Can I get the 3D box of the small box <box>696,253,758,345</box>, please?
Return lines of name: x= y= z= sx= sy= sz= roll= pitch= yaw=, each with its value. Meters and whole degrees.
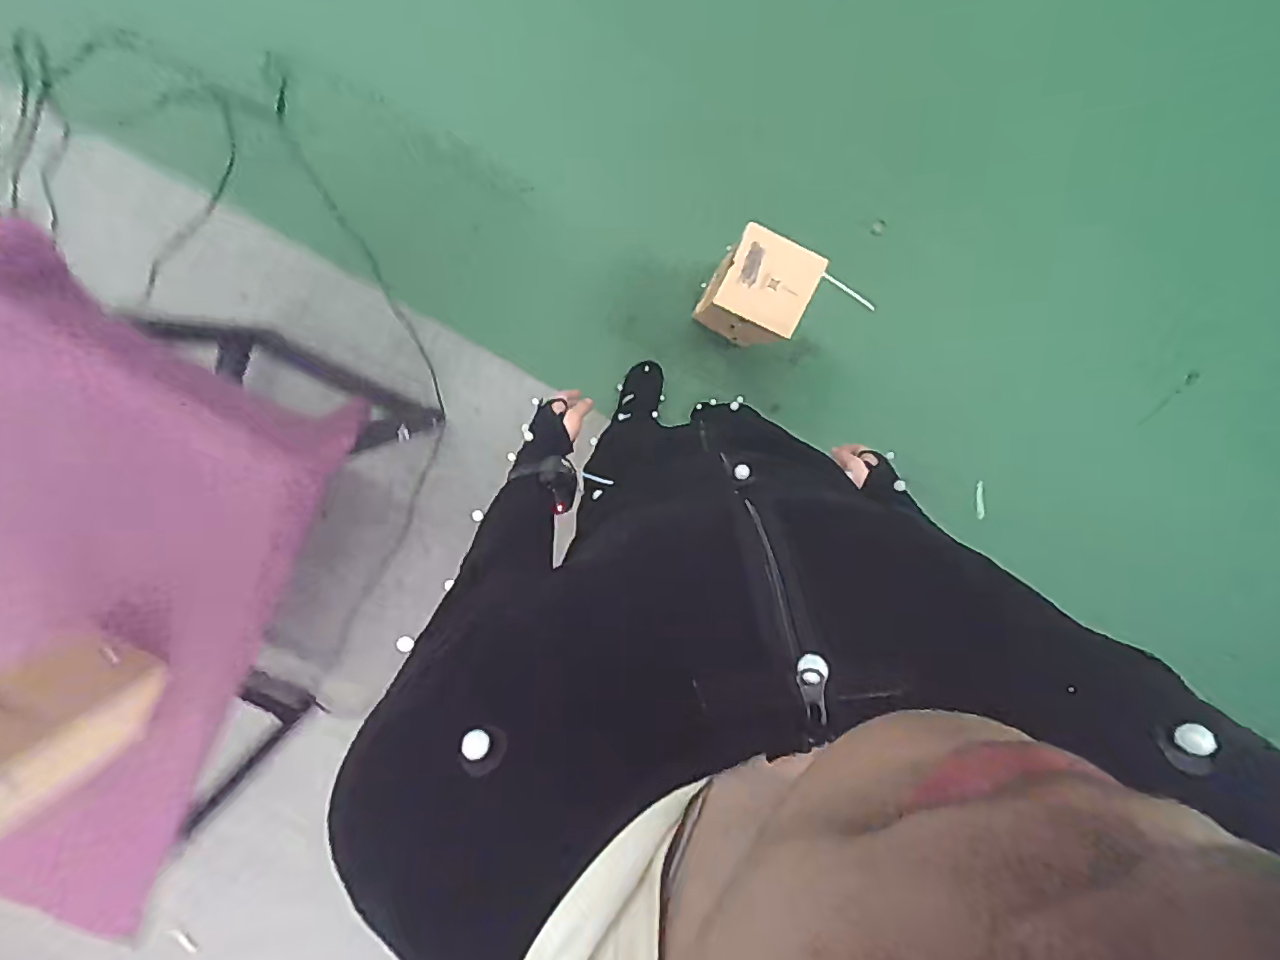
small box: x=0.267 y=-0.477 z=1.447 sx=0.179 sy=0.176 sz=0.168 roll=30 pitch=102 yaw=-5

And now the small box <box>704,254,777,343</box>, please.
small box: x=0.269 y=-0.441 z=1.288 sx=0.179 sy=0.176 sz=0.168 roll=27 pitch=102 yaw=-4

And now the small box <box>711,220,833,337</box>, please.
small box: x=0.263 y=-0.407 z=1.128 sx=0.179 sy=0.176 sz=0.168 roll=25 pitch=103 yaw=-4
